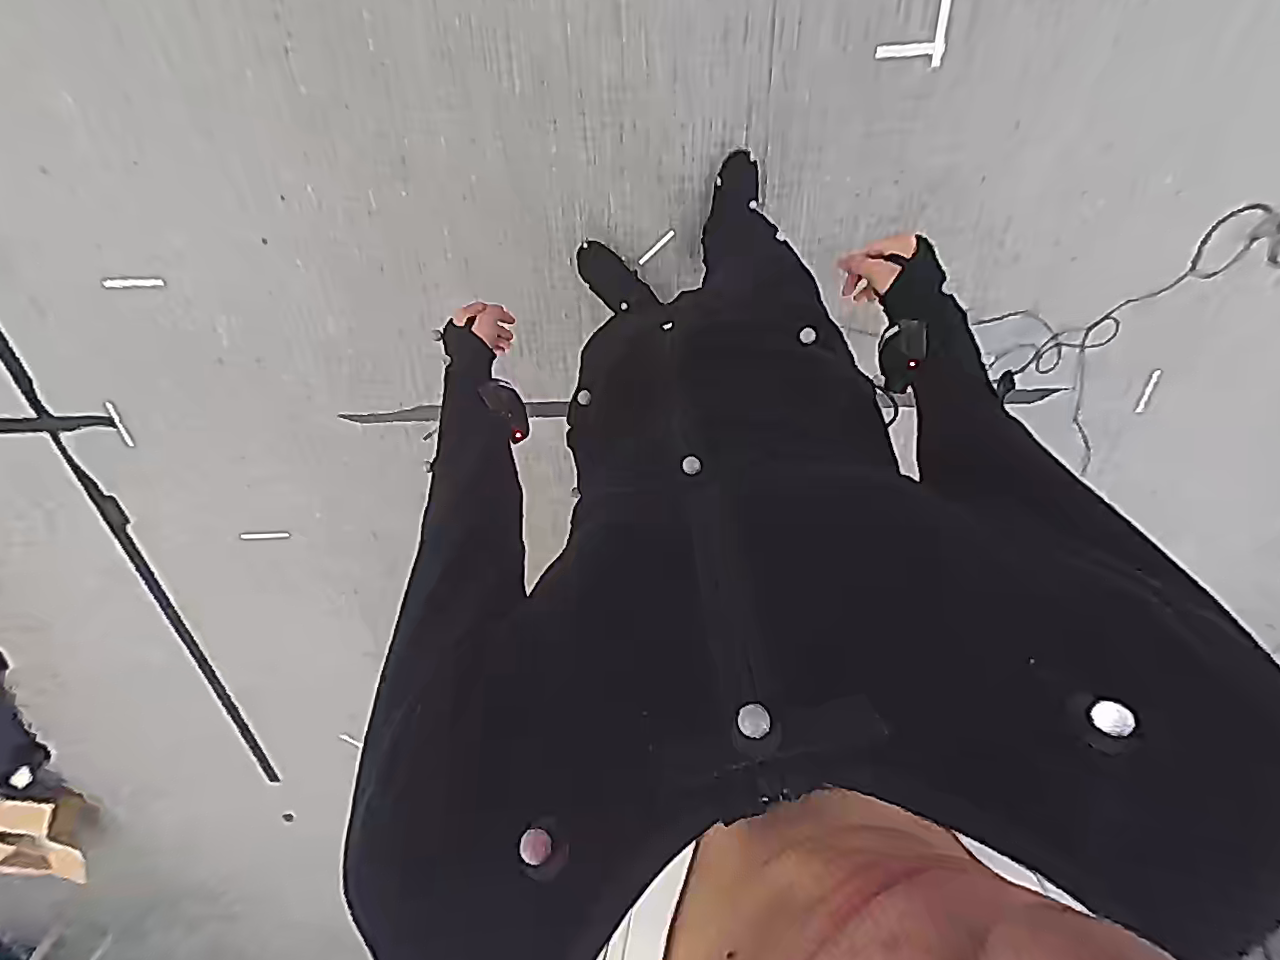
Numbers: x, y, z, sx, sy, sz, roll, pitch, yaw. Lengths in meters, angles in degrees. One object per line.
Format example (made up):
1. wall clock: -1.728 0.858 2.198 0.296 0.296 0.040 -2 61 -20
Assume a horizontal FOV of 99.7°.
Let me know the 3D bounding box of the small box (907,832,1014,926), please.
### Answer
1. small box: 0.897 1.124 1.529 0.179 0.176 0.168 0 120 -3
